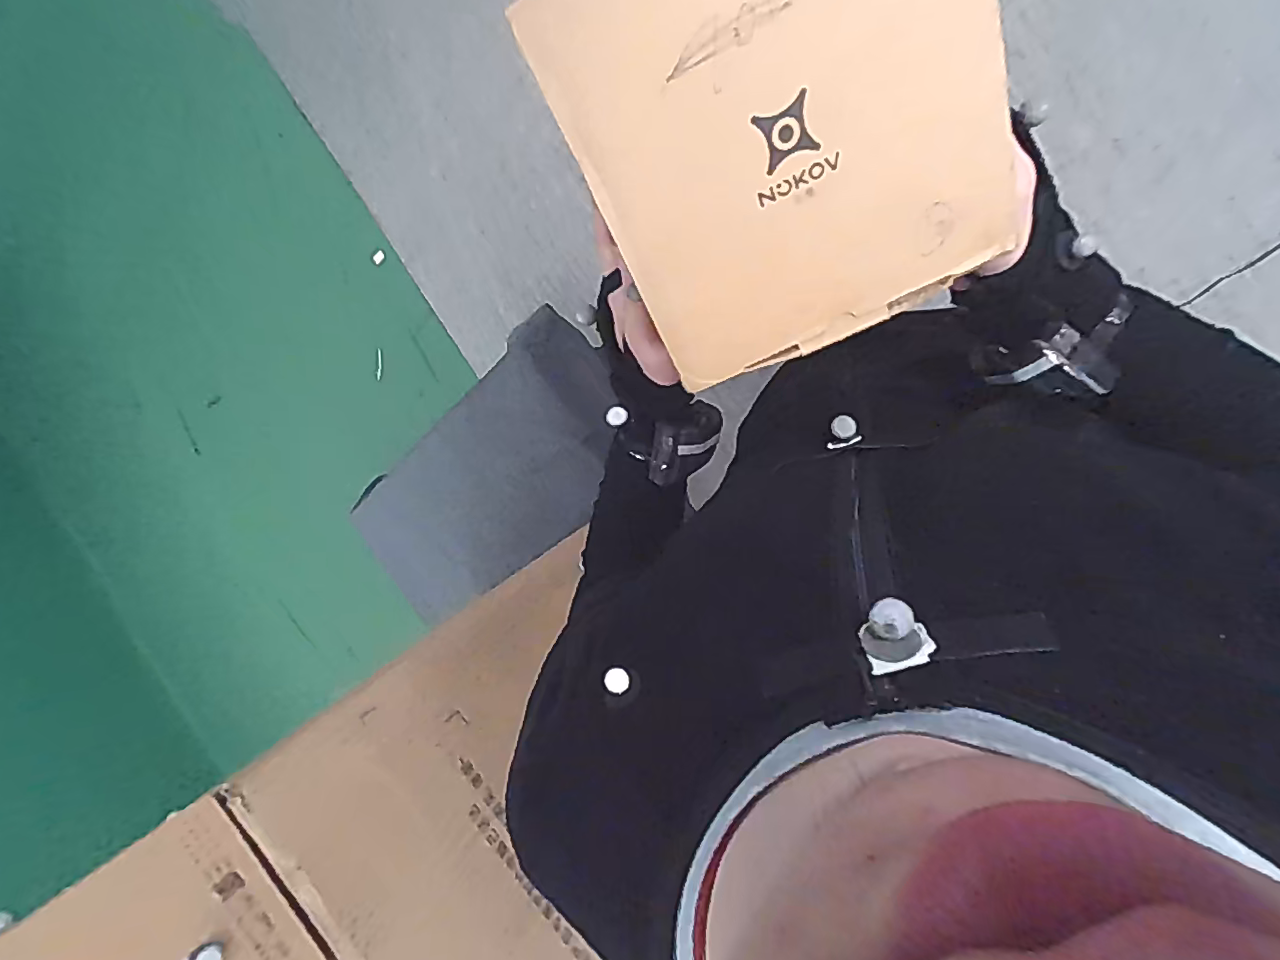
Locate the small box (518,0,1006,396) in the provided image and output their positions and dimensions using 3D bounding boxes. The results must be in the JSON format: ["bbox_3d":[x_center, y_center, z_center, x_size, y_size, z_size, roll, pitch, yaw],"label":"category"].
[{"bbox_3d":[0.062,-0.181,0.296,0.168,0.176,0.179,-23,120,14],"label":"small box"}]

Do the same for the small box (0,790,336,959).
[{"bbox_3d":[-0.349,0.353,0.362,0.179,0.176,0.168,-37,88,27],"label":"small box"}]
